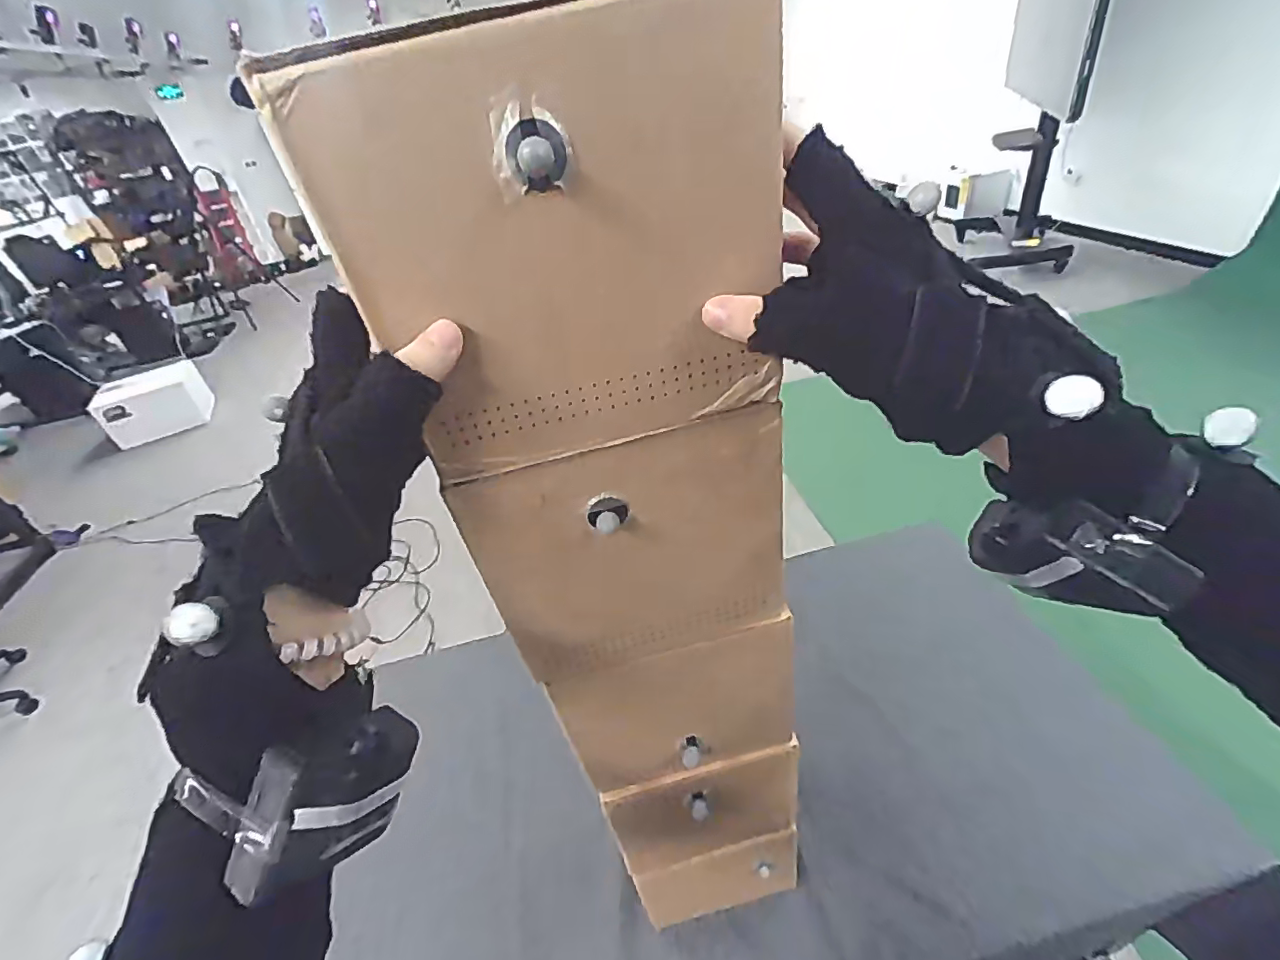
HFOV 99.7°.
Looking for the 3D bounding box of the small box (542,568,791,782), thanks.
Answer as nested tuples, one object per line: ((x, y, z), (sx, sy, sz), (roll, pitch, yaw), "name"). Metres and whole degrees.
((0.018, 0.130, 0.475), (0.179, 0.176, 0.168), (-13, 35, -3), "small box")

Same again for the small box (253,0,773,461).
((-0.039, -0.129, 0.284), (0.179, 0.176, 0.168), (-13, 38, -2), "small box")

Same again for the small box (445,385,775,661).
((-0.014, 0.000, 0.381), (0.179, 0.176, 0.168), (-14, 37, -4), "small box")

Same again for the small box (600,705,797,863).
((0.048, 0.263, 0.568), (0.179, 0.176, 0.168), (-15, 36, -4), "small box")
